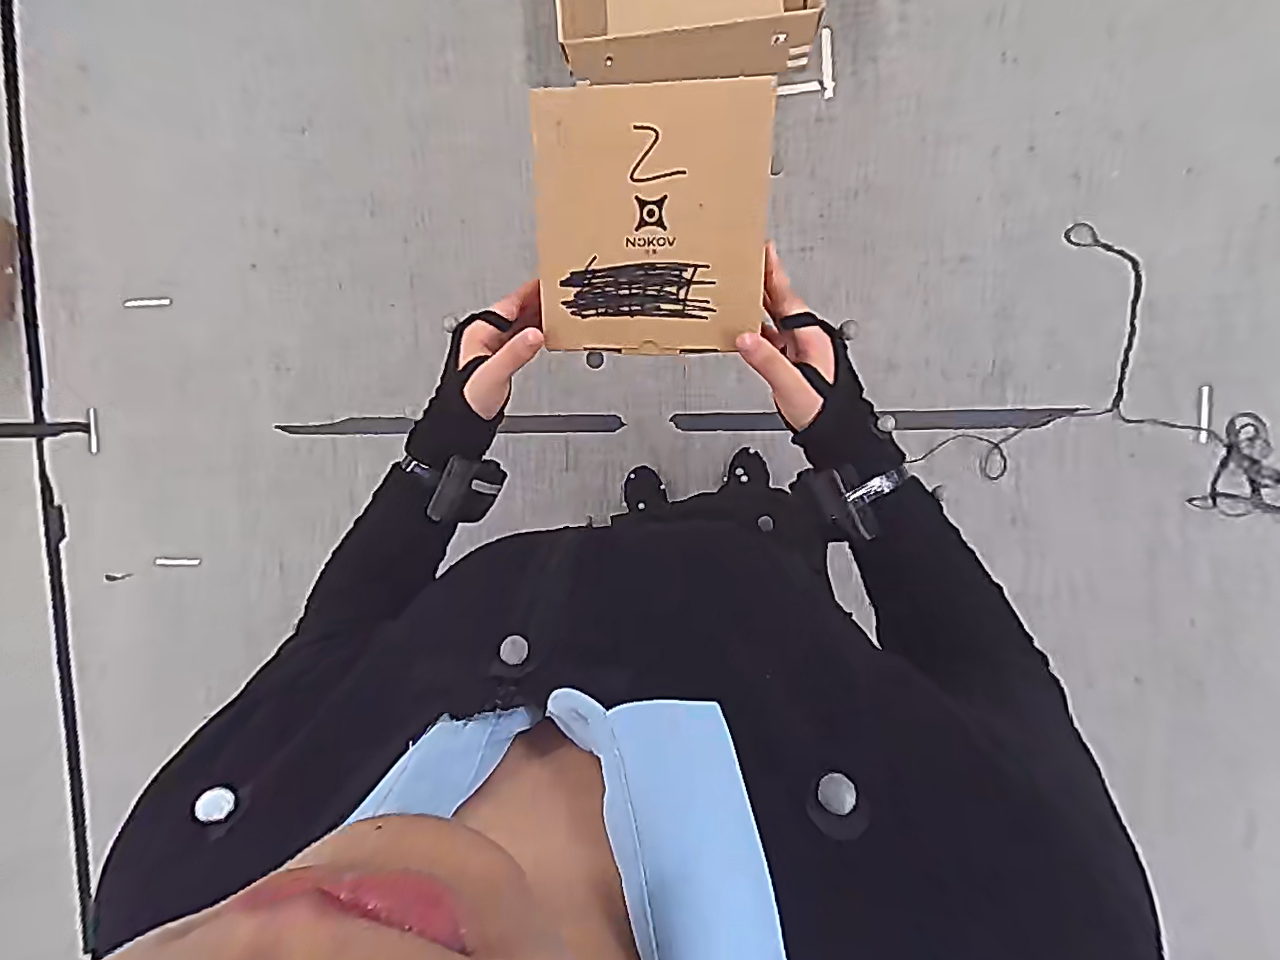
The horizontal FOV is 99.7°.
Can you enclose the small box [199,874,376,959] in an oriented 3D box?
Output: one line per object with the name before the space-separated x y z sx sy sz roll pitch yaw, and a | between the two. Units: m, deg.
small box | -0.503 0.722 0.776 0.168 0.176 0.179 3 95 6
